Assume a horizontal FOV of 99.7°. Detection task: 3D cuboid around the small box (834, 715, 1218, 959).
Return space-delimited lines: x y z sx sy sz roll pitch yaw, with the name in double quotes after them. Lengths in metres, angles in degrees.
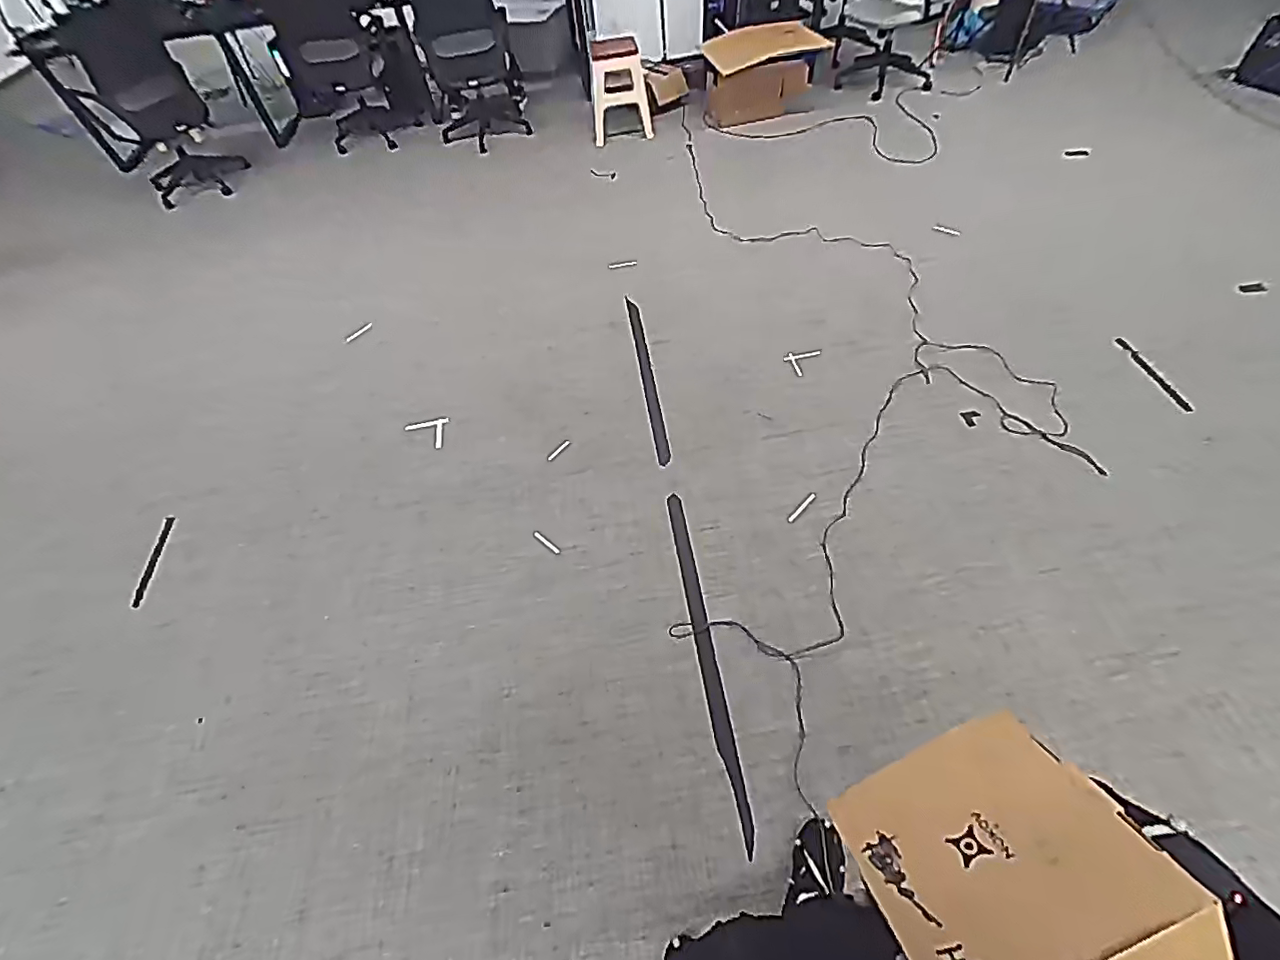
0.291 0.334 0.424 0.179 0.176 0.168 -28 17 1 "small box"
